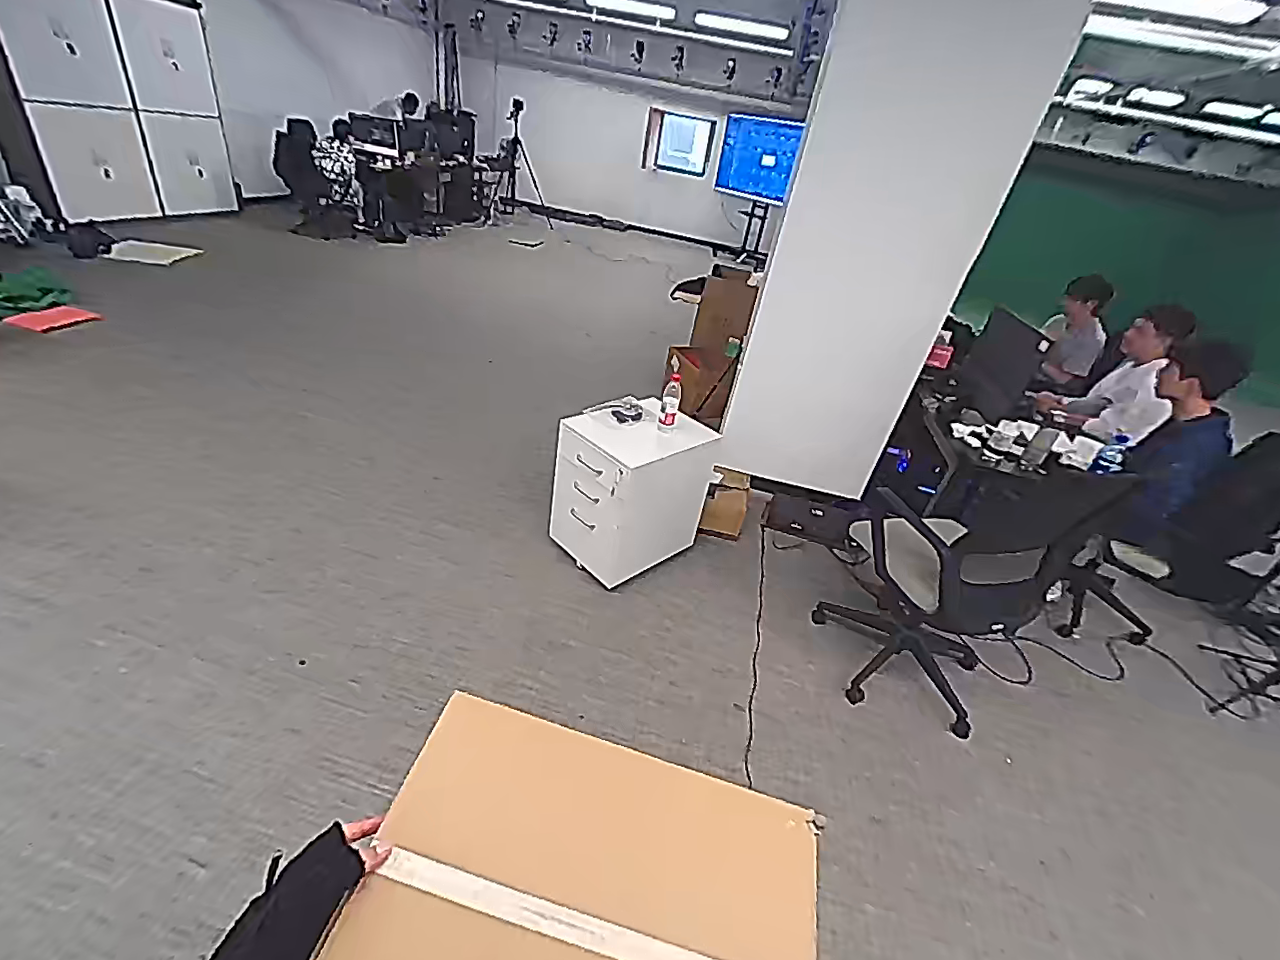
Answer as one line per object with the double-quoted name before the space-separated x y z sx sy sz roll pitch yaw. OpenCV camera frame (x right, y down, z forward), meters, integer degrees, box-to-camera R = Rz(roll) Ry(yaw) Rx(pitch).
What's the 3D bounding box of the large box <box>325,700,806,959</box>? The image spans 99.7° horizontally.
"large box" -0.076 0.500 0.576 0.408 0.320 0.320 18 43 3
